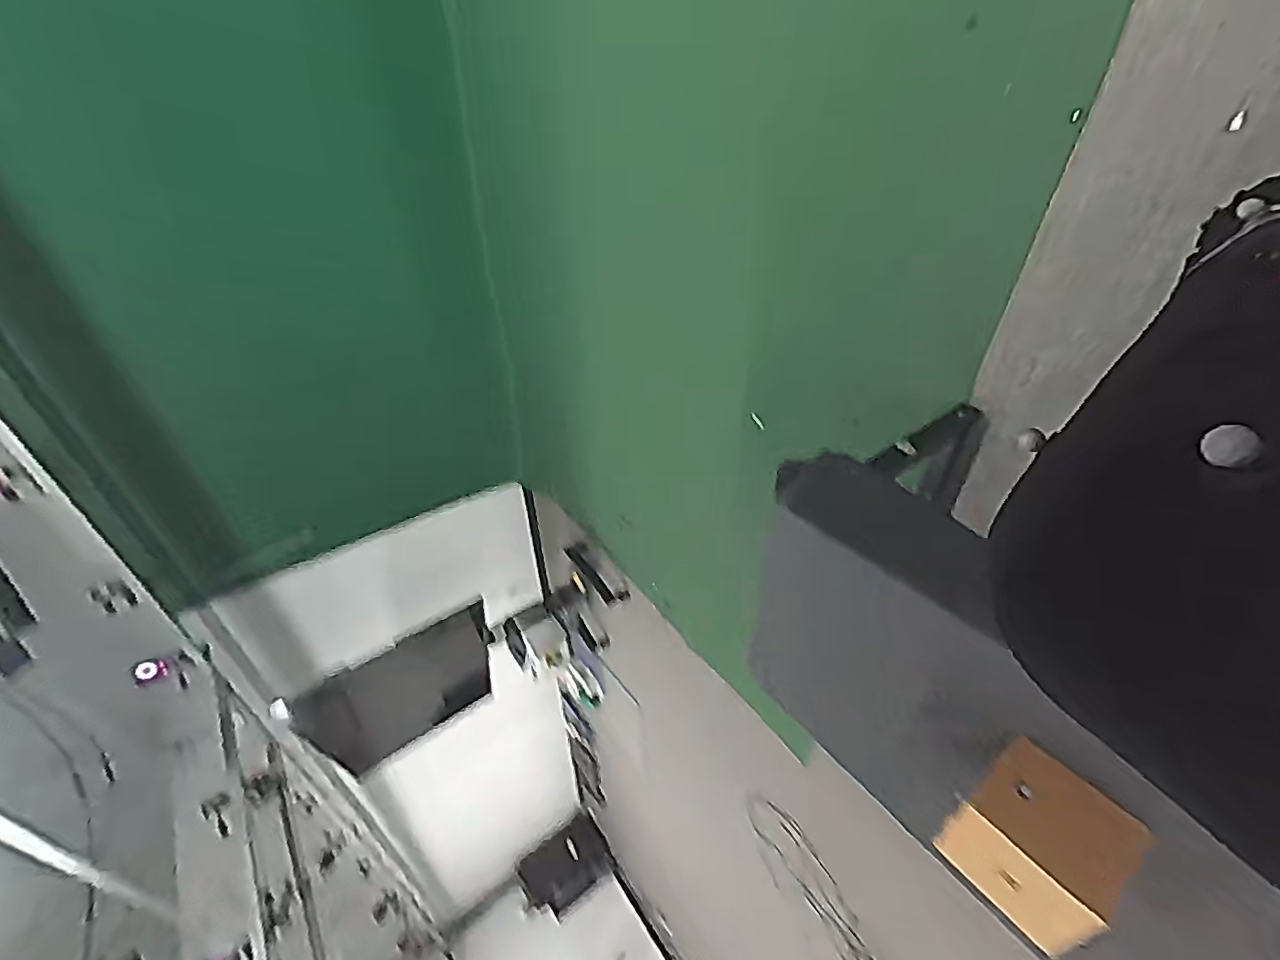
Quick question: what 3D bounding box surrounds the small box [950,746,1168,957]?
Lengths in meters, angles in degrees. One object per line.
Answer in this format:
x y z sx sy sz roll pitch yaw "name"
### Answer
0.607 0.529 0.796 0.179 0.176 0.168 36 143 41 "small box"
